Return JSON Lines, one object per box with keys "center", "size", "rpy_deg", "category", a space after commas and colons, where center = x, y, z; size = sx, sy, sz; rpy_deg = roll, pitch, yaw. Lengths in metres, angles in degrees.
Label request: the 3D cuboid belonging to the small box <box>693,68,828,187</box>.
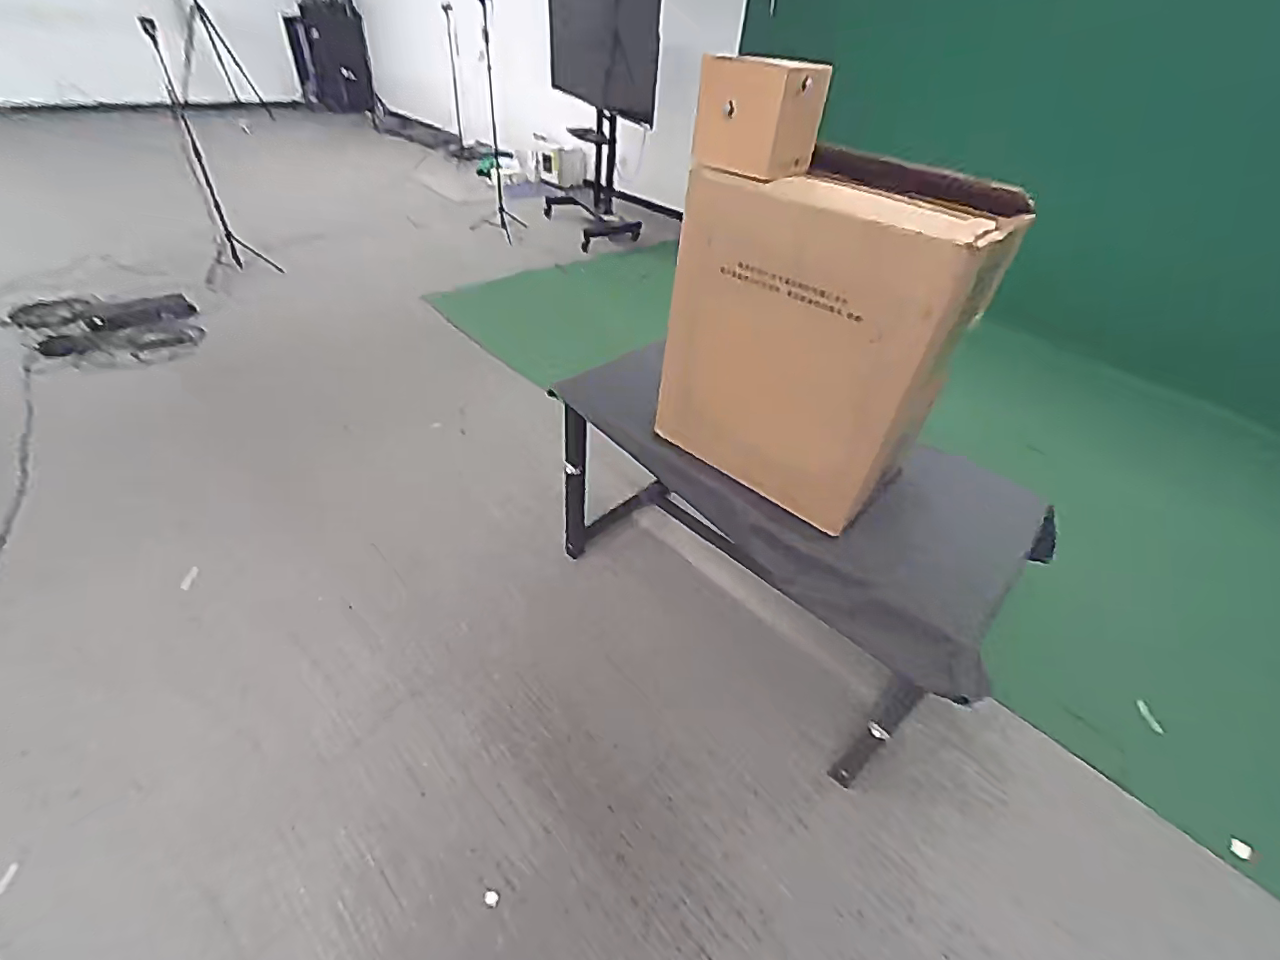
{"center": [0.218, -0.662, 1.015], "size": [0.179, 0.176, 0.168], "rpy_deg": [30, 47, 29], "category": "small box"}
